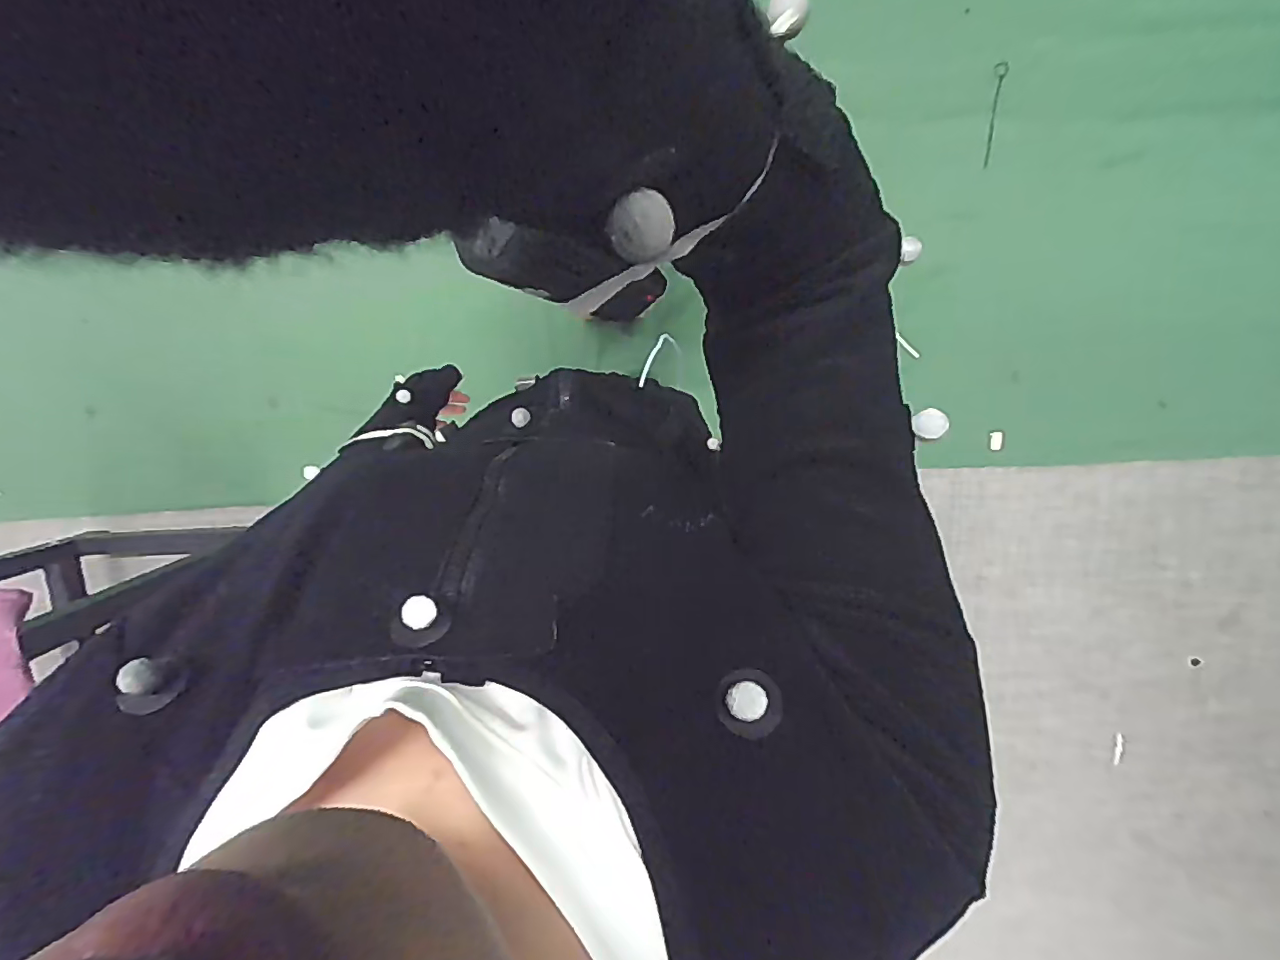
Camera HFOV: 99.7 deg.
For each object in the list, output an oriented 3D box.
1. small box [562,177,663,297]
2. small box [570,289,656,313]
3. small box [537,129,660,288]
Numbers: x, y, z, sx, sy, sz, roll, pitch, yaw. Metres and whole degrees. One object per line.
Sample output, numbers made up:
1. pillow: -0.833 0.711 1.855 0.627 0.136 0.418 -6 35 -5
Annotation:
1. small box: -0.050 -0.432 0.980 0.179 0.176 0.168 -1 99 0
2. small box: -0.055 -0.452 1.147 0.179 0.176 0.168 -3 101 0
3. small box: -0.056 -0.400 0.822 0.168 0.176 0.179 -2 101 1
